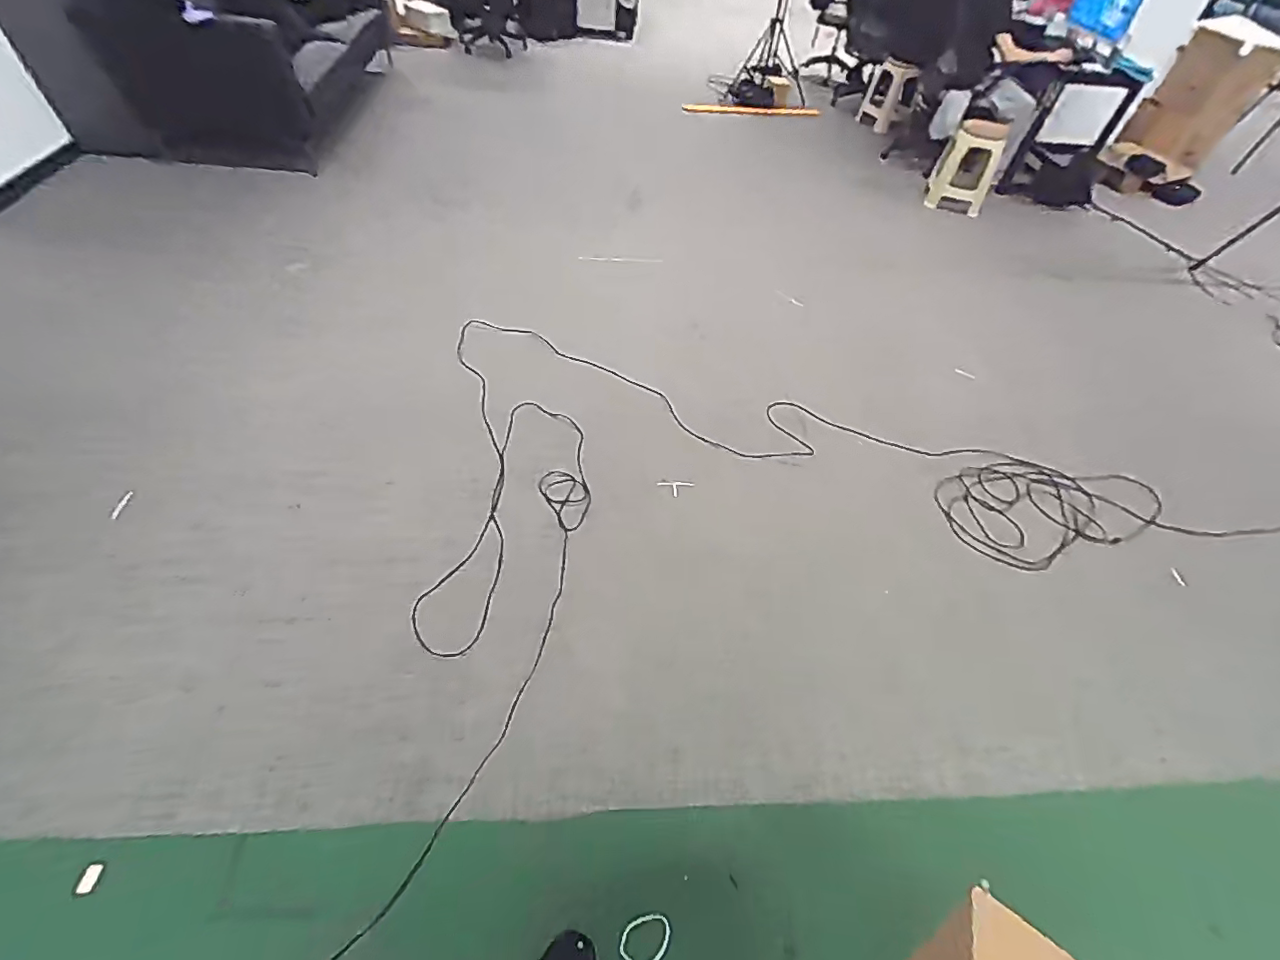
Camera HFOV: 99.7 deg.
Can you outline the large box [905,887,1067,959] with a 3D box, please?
[{"bbox_3d":[0.416,0.787,0.571,0.320,0.320,0.408,33,19,25],"label":"large box"}]
